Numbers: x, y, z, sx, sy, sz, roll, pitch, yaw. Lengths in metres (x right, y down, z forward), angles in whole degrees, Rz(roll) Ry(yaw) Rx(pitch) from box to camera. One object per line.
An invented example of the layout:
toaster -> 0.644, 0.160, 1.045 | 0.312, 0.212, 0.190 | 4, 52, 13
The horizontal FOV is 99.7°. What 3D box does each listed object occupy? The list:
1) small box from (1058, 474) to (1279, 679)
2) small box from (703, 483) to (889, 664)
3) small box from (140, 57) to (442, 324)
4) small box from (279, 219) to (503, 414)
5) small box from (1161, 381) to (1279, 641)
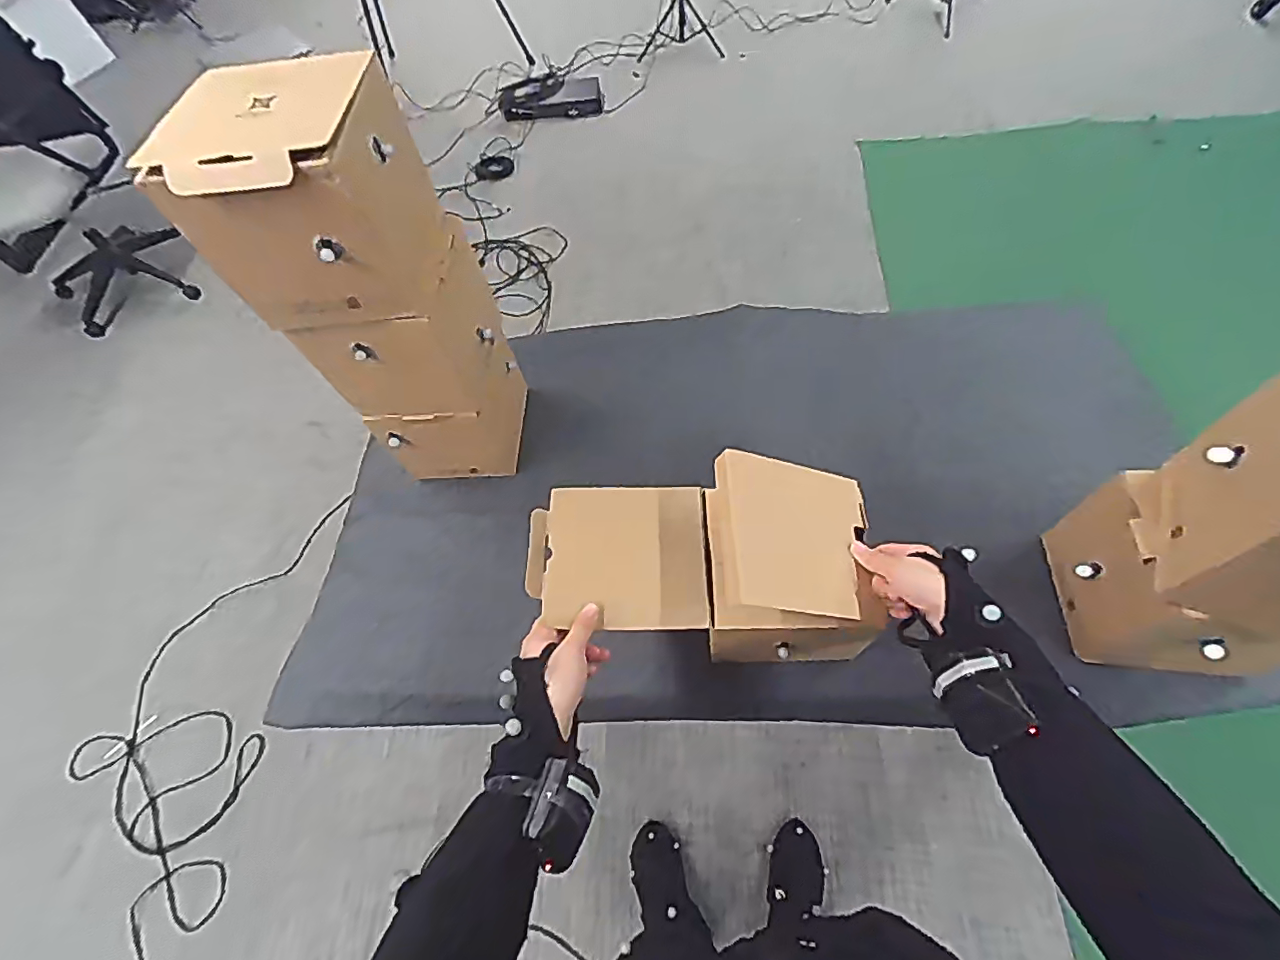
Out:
small box -> 0.598, 0.109, 0.588 | 0.179, 0.176, 0.168 | 3, 58, 10
small box -> 0.167, 0.117, 0.638 | 0.179, 0.176, 0.168 | -4, 60, 8
small box -> -0.314, -0.271, 0.535 | 0.168, 0.176, 0.179 | -4, 60, 3
small box -> -0.291, -0.194, 0.676 | 0.179, 0.176, 0.168 | -1, 62, 6
small box -> 0.584, 0.037, 0.441 | 0.179, 0.176, 0.168 | 23, 63, 19
